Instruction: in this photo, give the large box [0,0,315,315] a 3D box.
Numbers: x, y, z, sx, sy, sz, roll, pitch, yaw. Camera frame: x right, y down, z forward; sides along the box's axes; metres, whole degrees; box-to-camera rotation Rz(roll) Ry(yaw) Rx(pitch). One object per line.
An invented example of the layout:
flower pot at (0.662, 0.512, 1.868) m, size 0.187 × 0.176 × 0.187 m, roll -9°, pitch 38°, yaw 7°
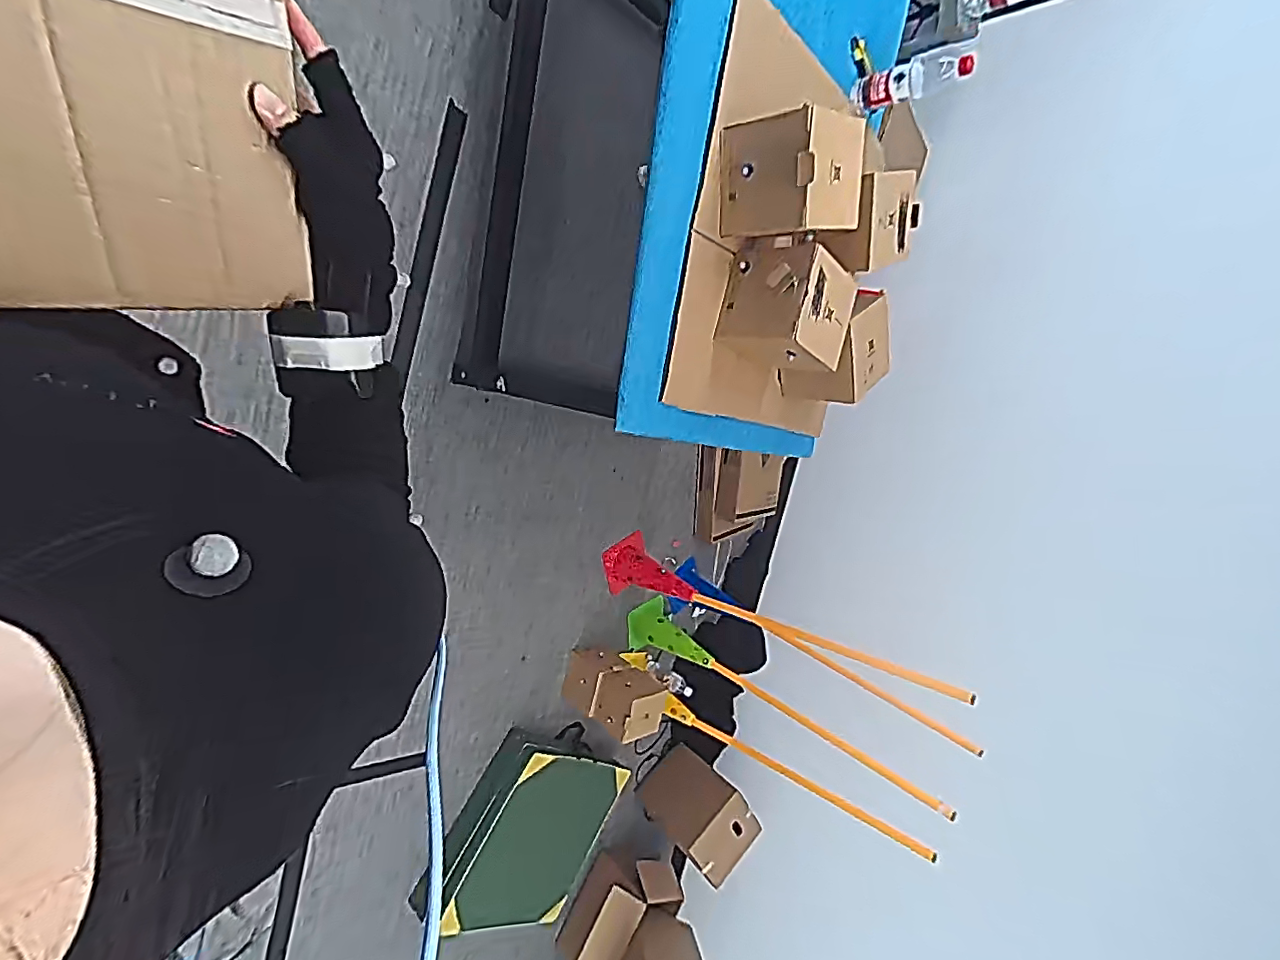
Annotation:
large box at (-0.452, -0.280, 0.280) m, size 0.408 × 0.320 × 0.320 m, roll -16°, pitch 130°, yaw -41°
